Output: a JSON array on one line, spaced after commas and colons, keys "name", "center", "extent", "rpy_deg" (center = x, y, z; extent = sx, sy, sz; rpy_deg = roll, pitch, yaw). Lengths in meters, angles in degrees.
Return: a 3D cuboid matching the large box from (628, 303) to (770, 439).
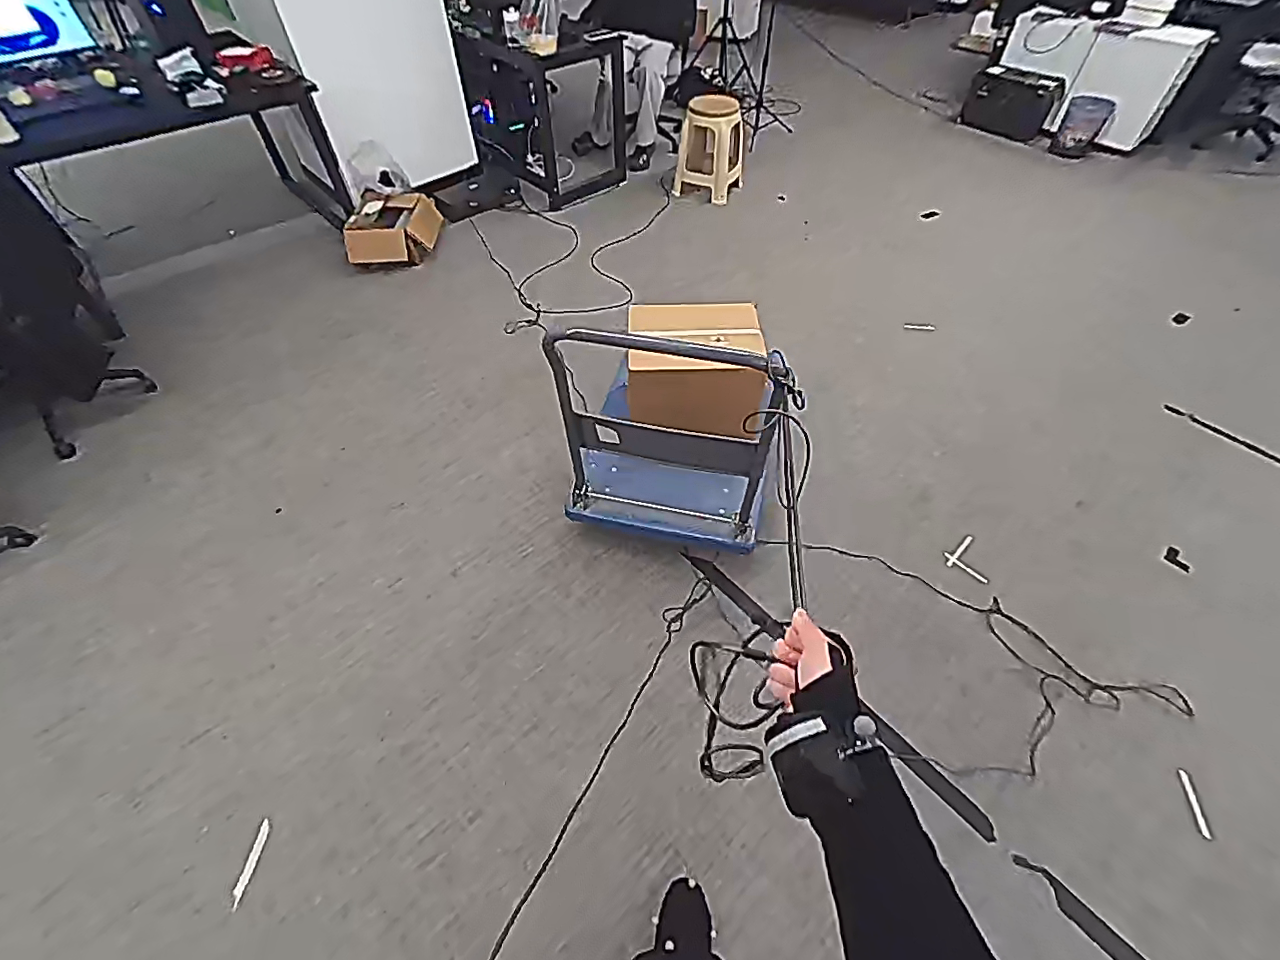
[{"name": "large box", "center": [0.168, -0.345, 1.733], "extent": [0.408, 0.320, 0.320], "rpy_deg": [-1, 53, 0]}]
